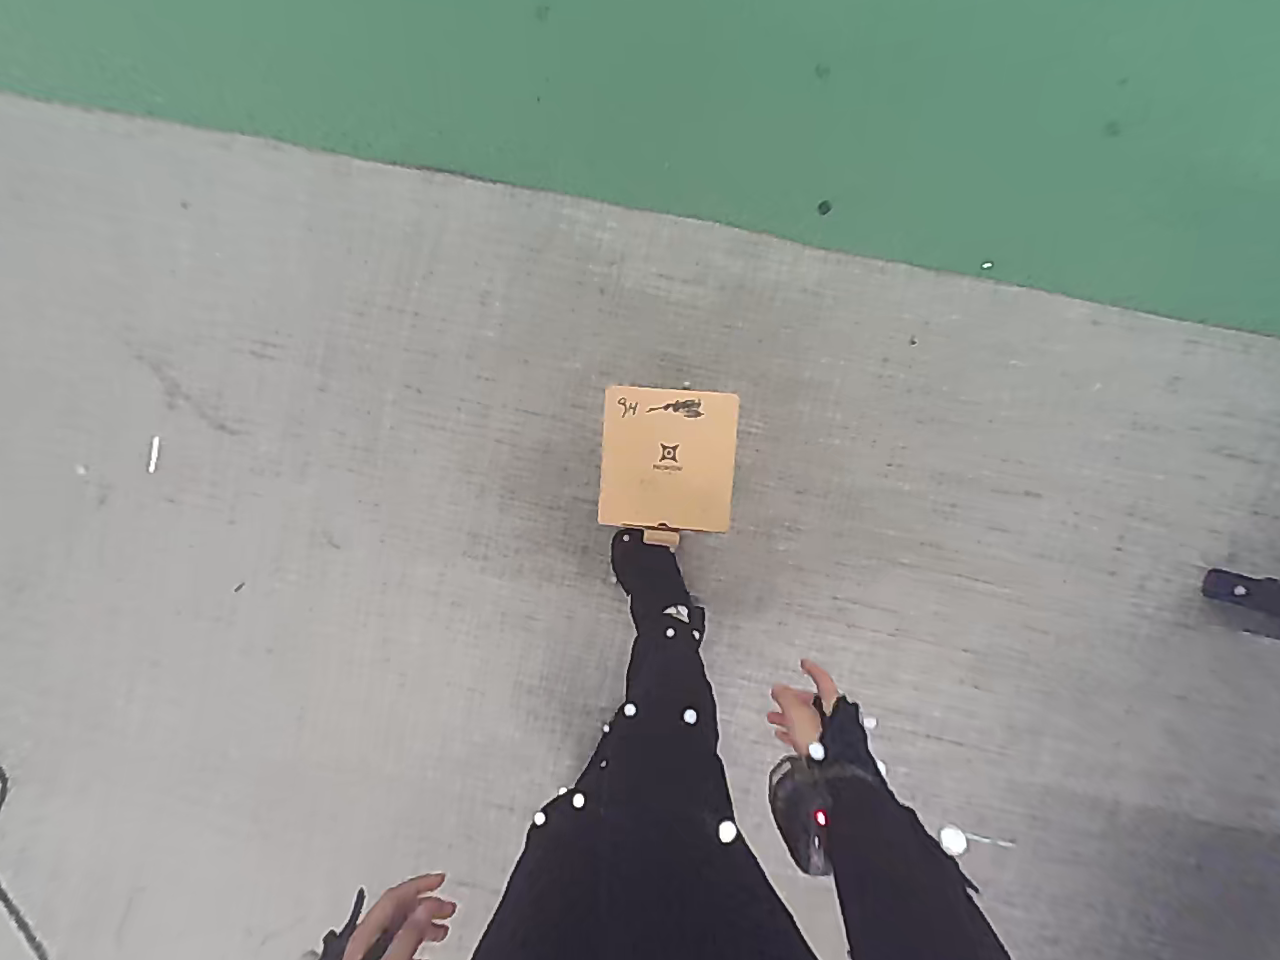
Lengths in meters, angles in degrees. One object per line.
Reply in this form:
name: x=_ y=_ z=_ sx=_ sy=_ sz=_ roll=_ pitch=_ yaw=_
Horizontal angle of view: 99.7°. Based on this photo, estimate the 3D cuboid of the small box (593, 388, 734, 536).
small box: x=0.030 y=-0.029 z=0.751 sx=0.168 sy=0.176 sz=0.179 roll=4 pitch=95 yaw=0
